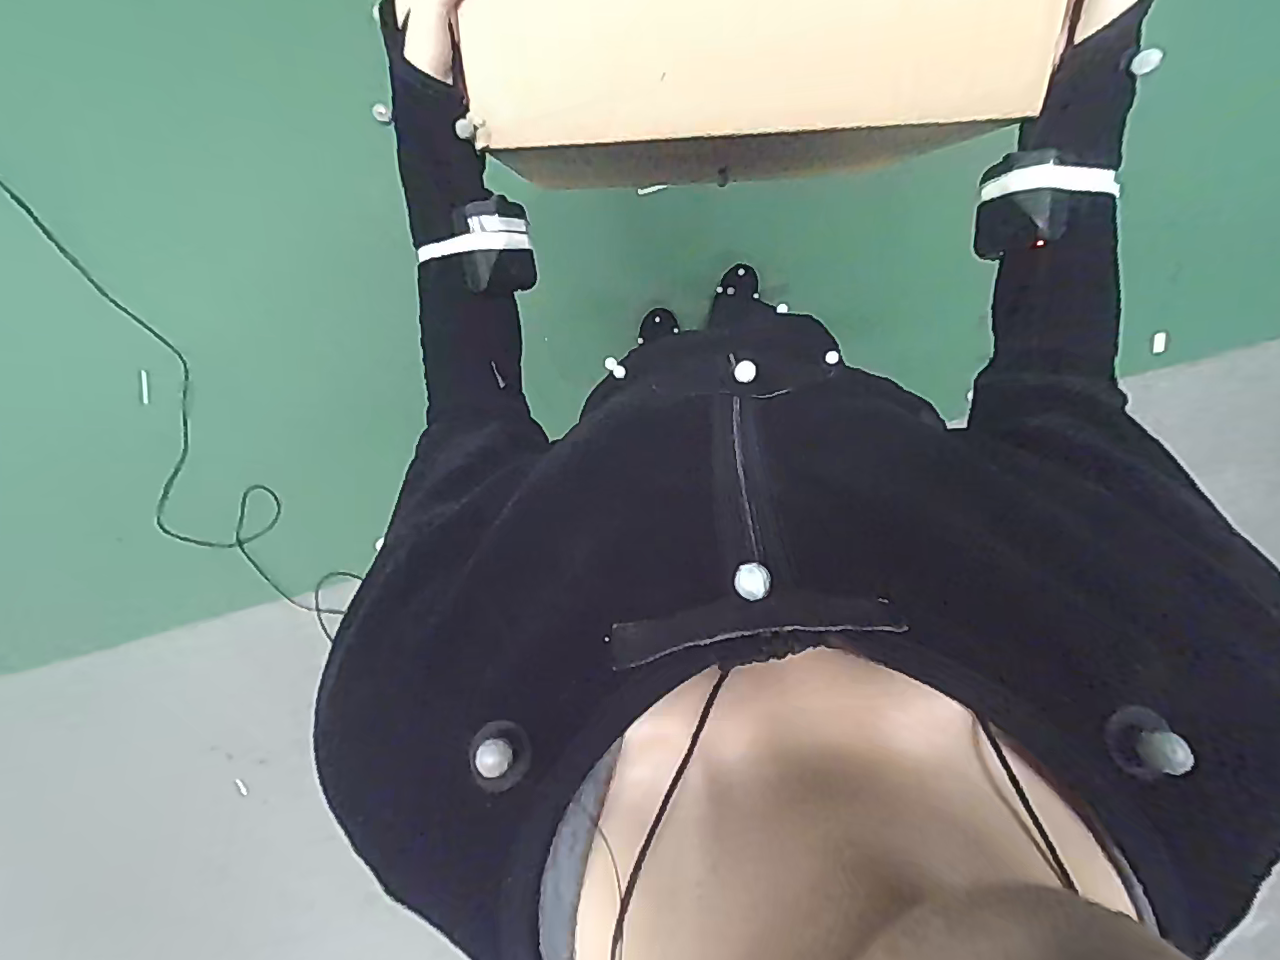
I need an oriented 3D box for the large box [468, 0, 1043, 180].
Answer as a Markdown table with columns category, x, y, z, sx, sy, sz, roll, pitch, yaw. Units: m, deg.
| category | x | y | z | sx | sy | sz | roll | pitch | yaw |
| --- | --- | --- | --- | --- | --- | --- | --- | --- | --- |
| large box | 0.077 | -0.462 | 0.476 | 0.408 | 0.320 | 0.320 | -2 | 113 | 1 |
